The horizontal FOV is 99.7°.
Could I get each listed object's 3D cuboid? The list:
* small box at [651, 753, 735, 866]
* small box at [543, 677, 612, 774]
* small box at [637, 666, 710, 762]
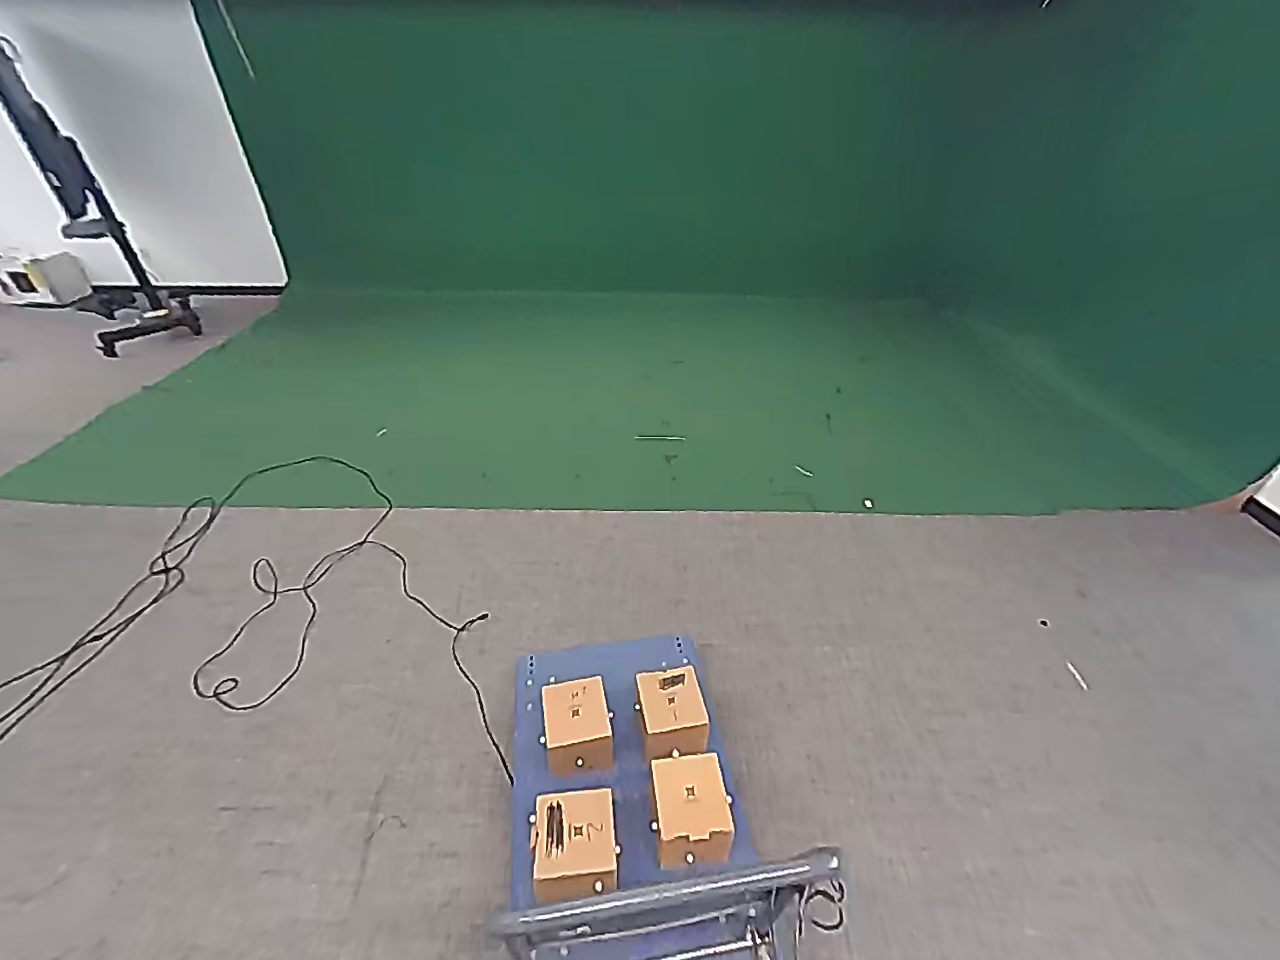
[{"bbox_3d":[0.118,0.791,1.301,0.168,0.176,0.179,-4,38,-6],"label":"small box"},{"bbox_3d":[-0.168,0.666,1.459,0.168,0.176,0.179,-6,38,-11],"label":"small box"},{"bbox_3d":[0.085,0.645,1.490,0.168,0.176,0.179,-7,39,-8],"label":"small box"}]
